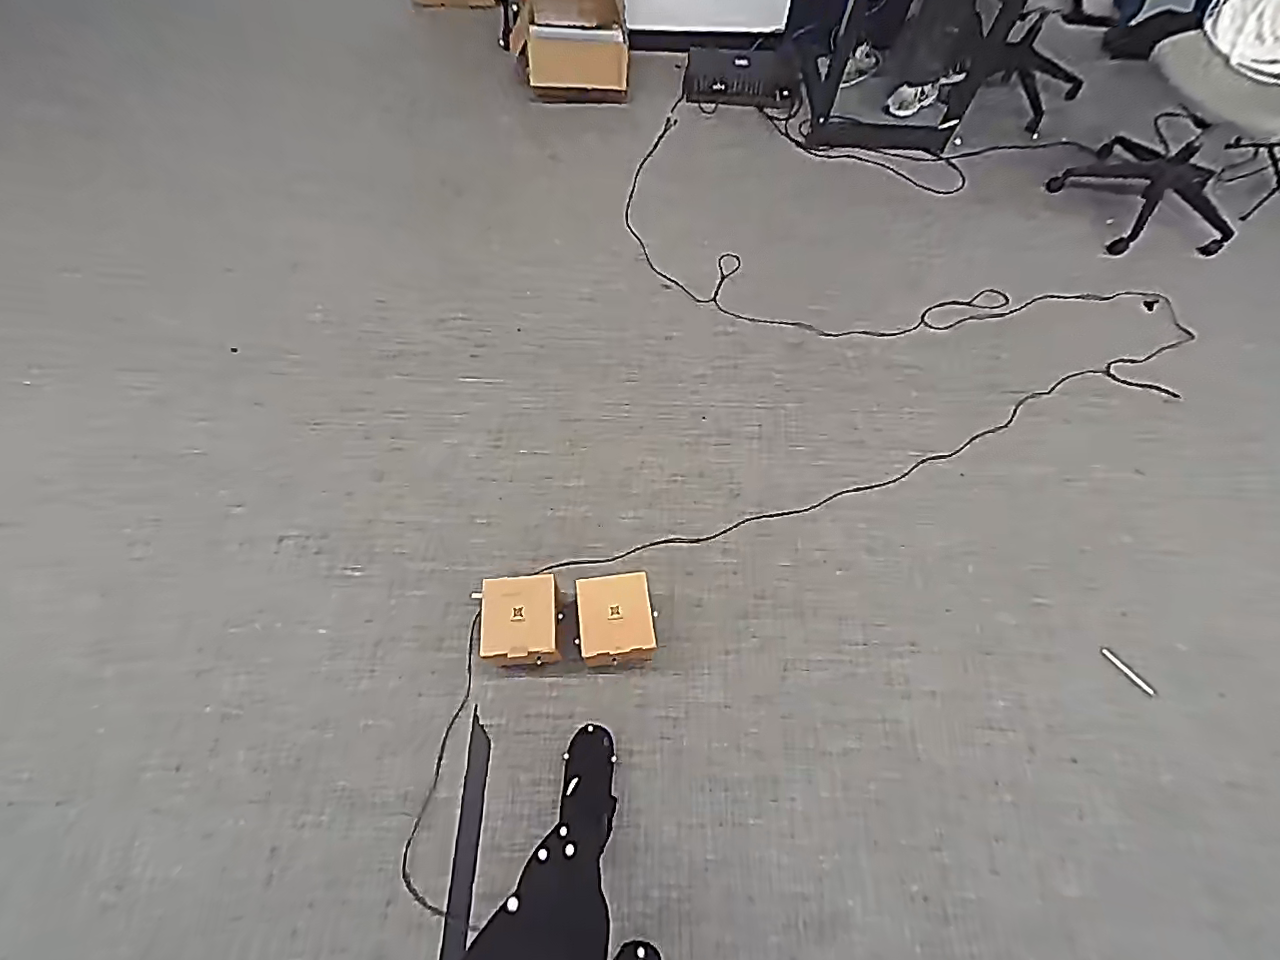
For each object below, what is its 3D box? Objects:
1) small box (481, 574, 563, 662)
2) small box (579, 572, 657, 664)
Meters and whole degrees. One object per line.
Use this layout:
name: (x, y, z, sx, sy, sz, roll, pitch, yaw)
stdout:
small box: (-0.274, 0.335, 1.292, 0.168, 0.176, 0.179, -3, 64, -4)
small box: (-0.057, 0.335, 1.300, 0.168, 0.176, 0.179, -6, 66, -5)
